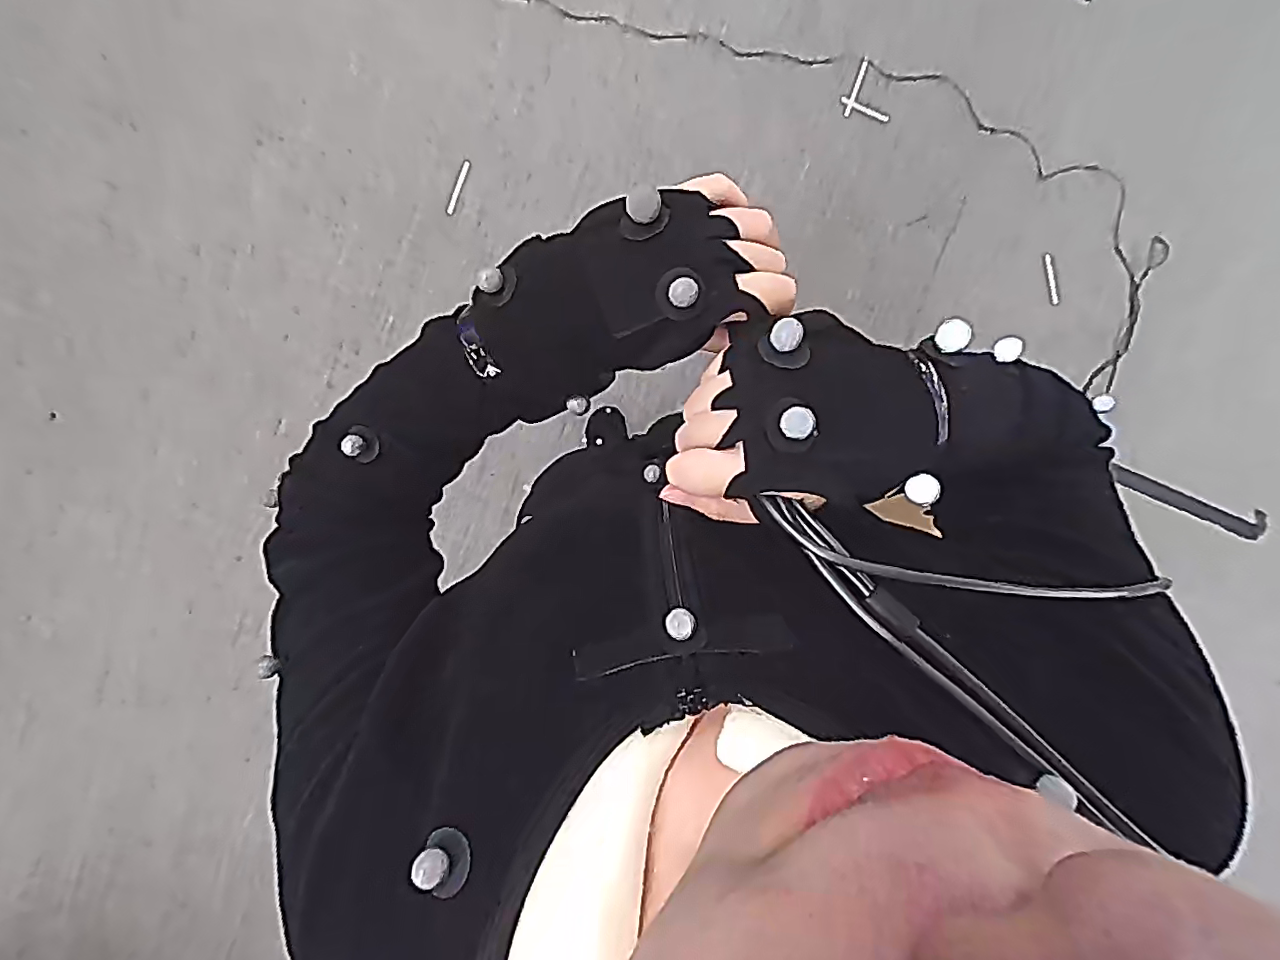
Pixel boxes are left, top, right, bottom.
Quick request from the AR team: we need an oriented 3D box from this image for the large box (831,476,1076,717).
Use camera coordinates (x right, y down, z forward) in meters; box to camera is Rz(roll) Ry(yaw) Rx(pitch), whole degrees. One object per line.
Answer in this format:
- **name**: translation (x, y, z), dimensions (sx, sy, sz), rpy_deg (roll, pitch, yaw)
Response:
- **large box**: translation (0.690, 0.238, 1.237), dimensions (0.320, 0.320, 0.408), rpy_deg (-18, 98, -1)
